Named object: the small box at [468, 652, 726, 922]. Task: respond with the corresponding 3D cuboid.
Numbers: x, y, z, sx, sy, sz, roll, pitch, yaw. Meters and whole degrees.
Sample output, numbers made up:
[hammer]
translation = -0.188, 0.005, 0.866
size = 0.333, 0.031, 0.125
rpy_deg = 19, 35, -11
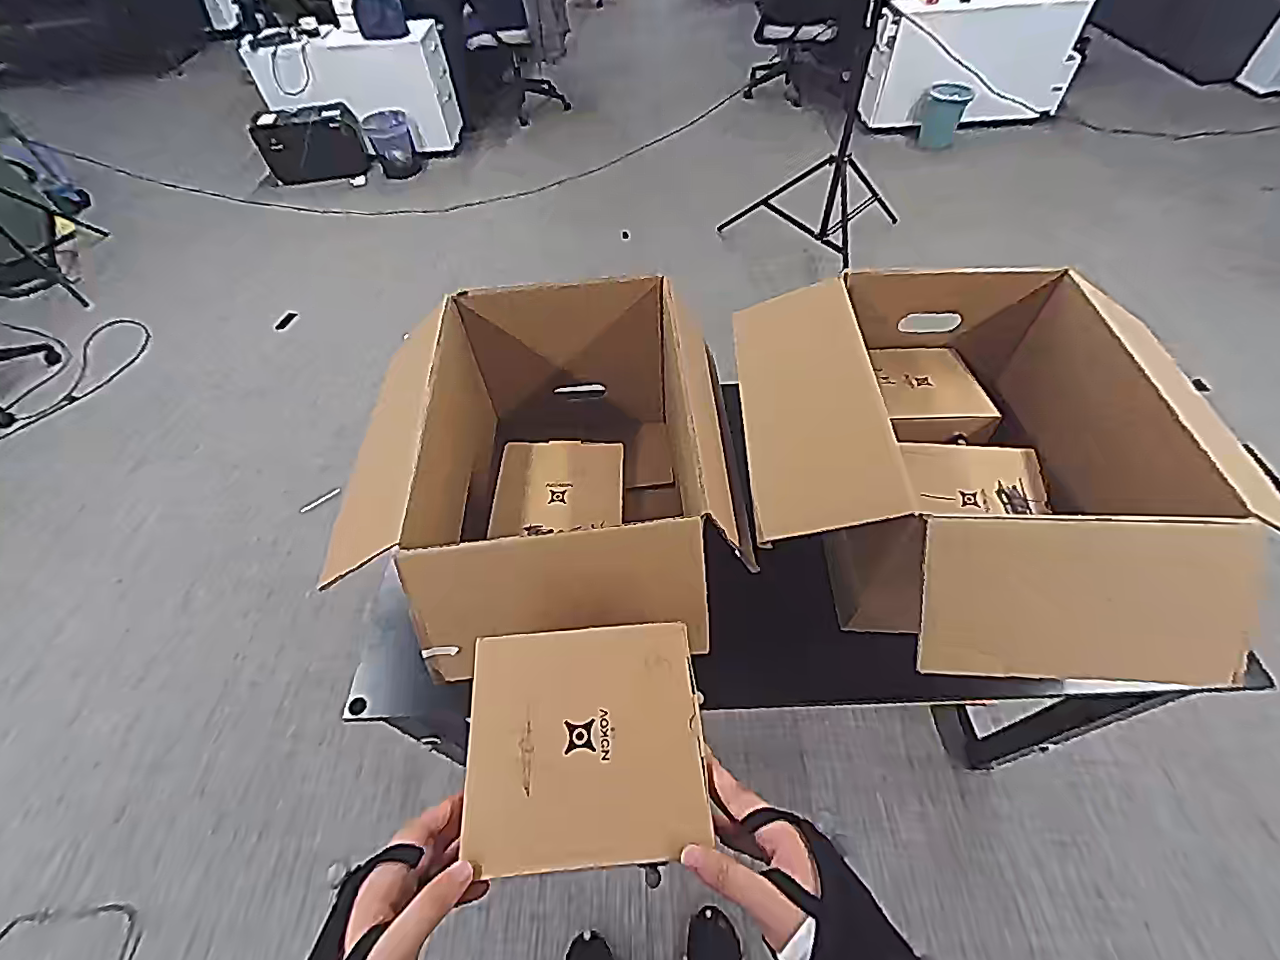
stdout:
[small box]
translation = -0.034, 0.265, 0.470
size = 0.179, 0.176, 0.168
rpy_deg = -6, 53, -2
